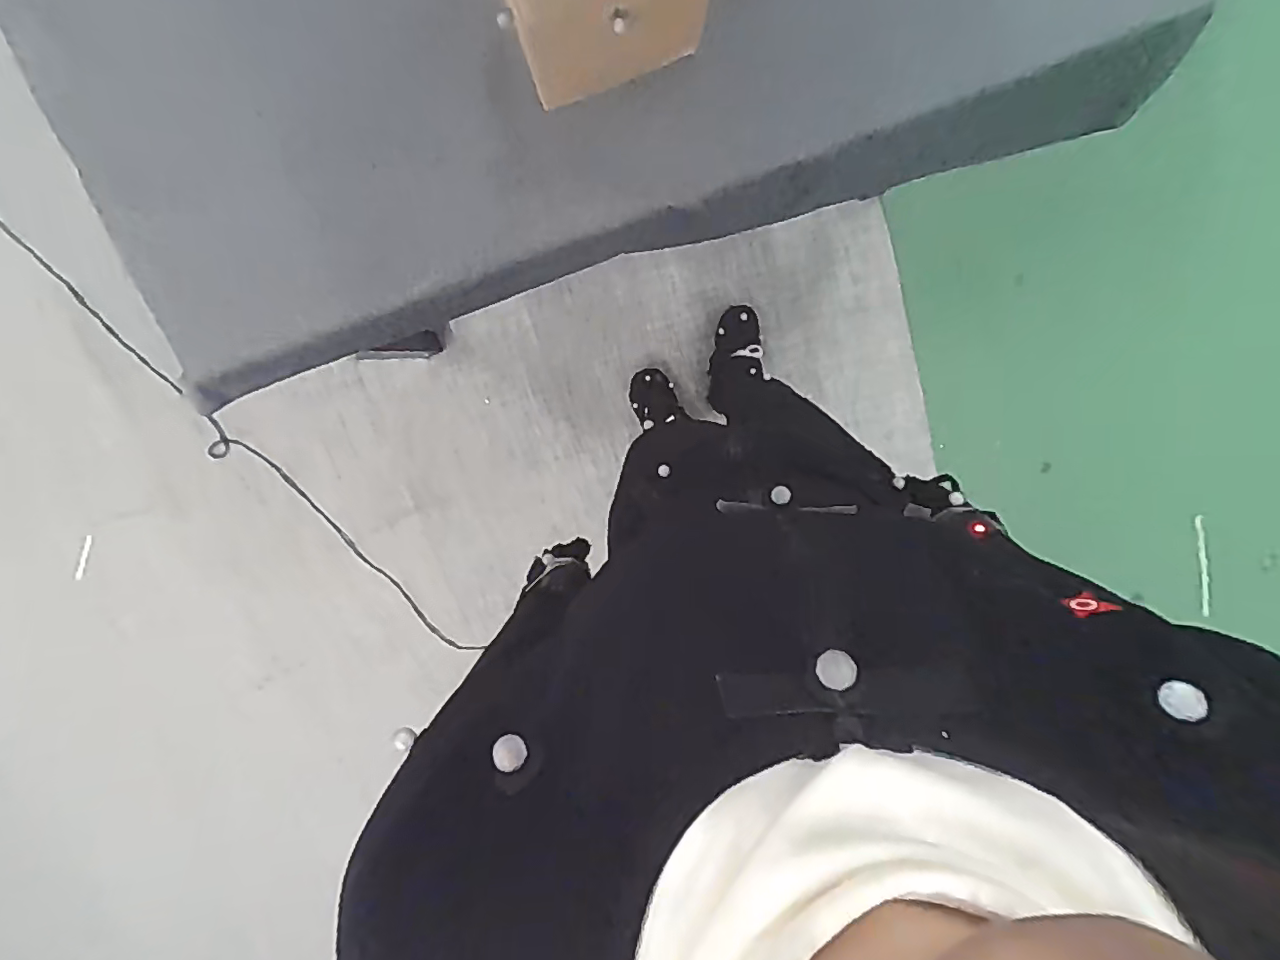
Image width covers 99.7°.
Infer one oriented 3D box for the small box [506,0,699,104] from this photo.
[{"bbox_3d":[-0.047,-0.485,0.490,0.179,0.176,0.168,-20,104,2],"label":"small box"}]
